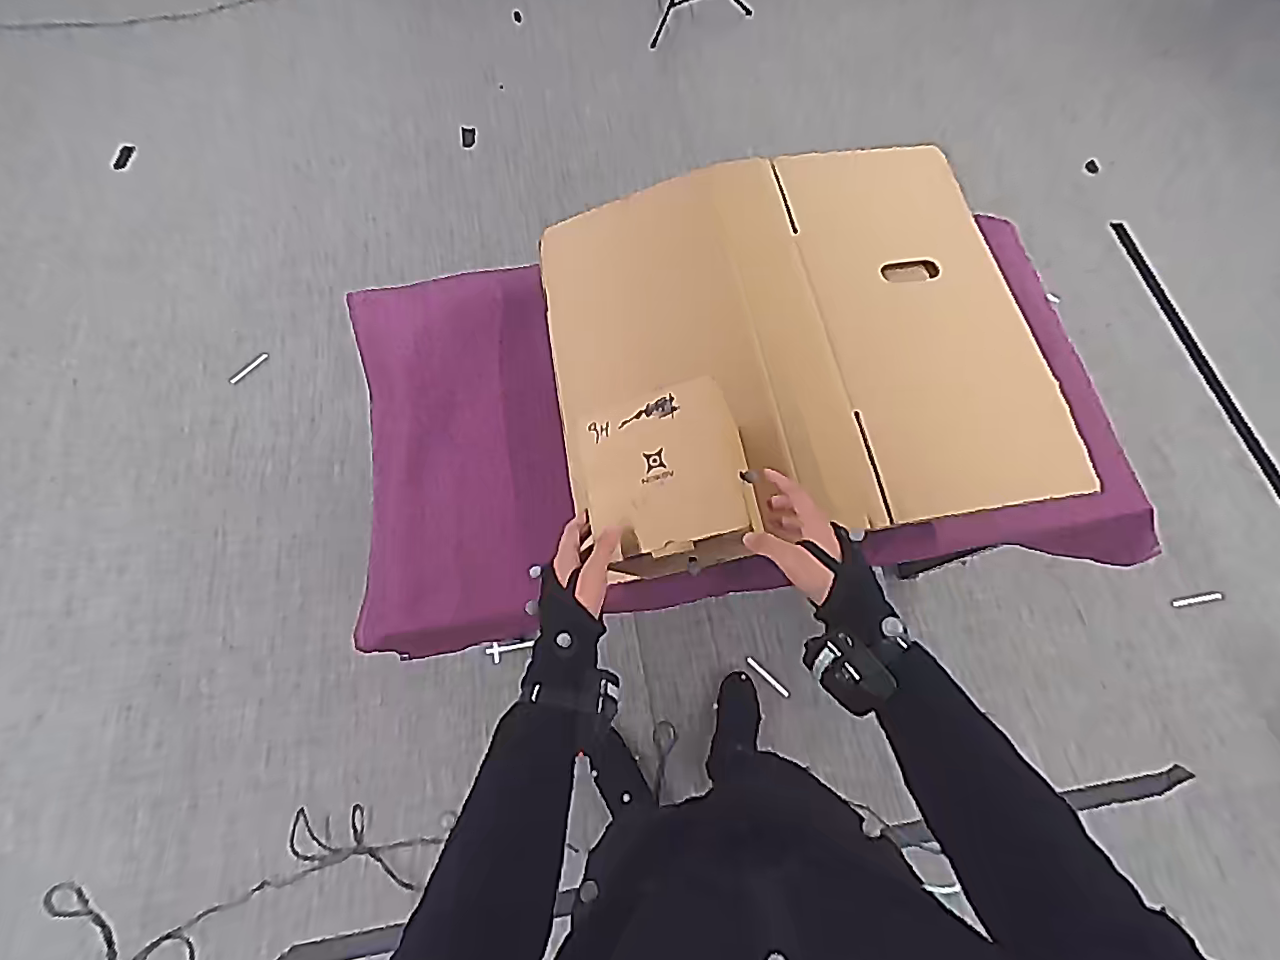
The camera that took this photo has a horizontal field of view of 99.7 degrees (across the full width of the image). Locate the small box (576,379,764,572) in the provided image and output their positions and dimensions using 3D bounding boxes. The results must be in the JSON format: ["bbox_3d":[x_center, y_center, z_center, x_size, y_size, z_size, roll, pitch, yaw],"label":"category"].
[{"bbox_3d":[0.043,0.009,0.645,0.168,0.176,0.179,-16,72,15],"label":"small box"}]
